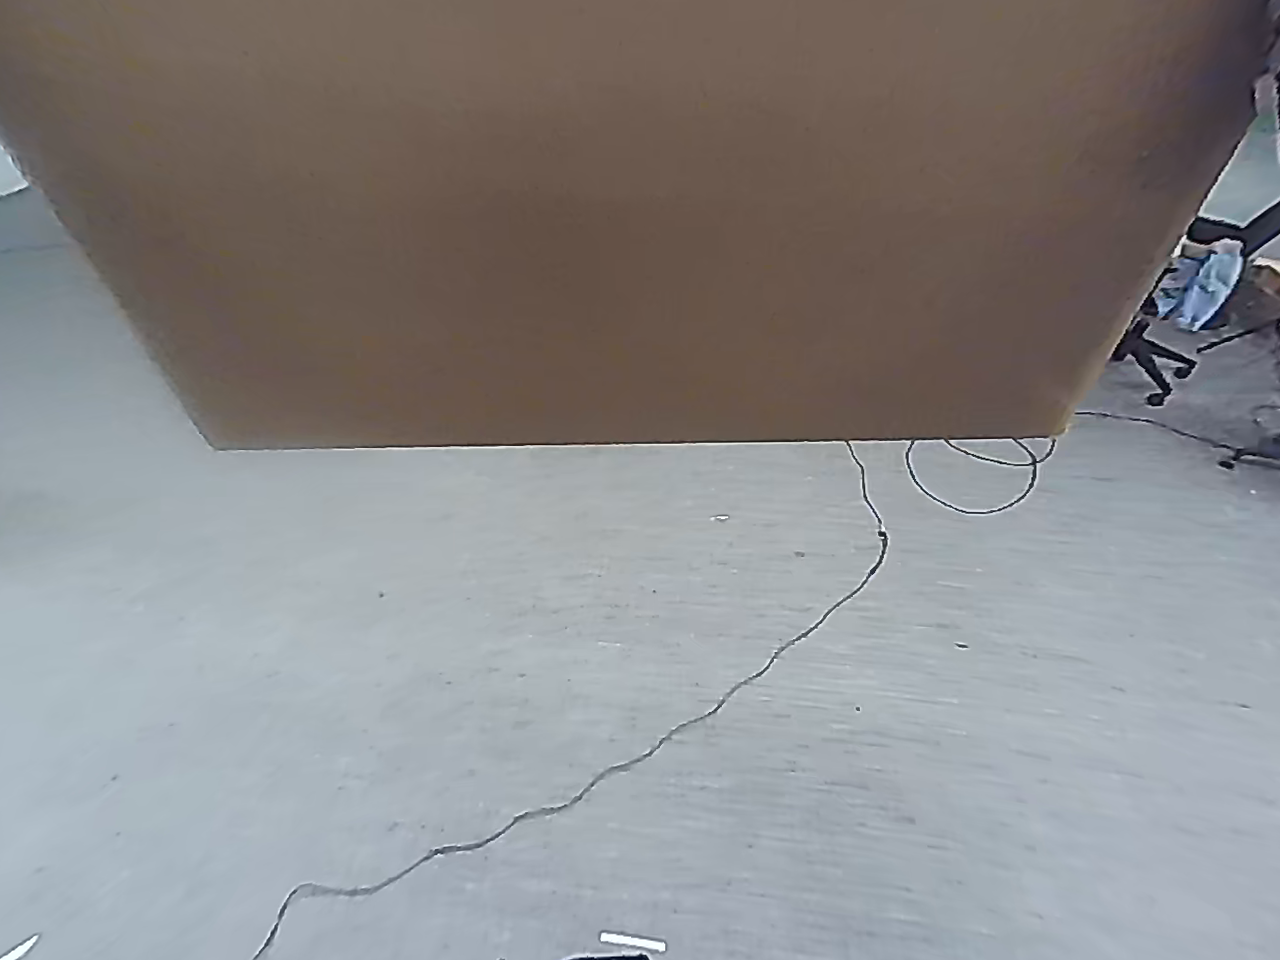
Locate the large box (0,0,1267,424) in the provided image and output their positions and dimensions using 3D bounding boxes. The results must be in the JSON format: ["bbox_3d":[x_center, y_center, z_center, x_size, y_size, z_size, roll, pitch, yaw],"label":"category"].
[{"bbox_3d":[-0.007,-0.238,0.277,0.408,0.320,0.320,0,41,0],"label":"large box"}]
